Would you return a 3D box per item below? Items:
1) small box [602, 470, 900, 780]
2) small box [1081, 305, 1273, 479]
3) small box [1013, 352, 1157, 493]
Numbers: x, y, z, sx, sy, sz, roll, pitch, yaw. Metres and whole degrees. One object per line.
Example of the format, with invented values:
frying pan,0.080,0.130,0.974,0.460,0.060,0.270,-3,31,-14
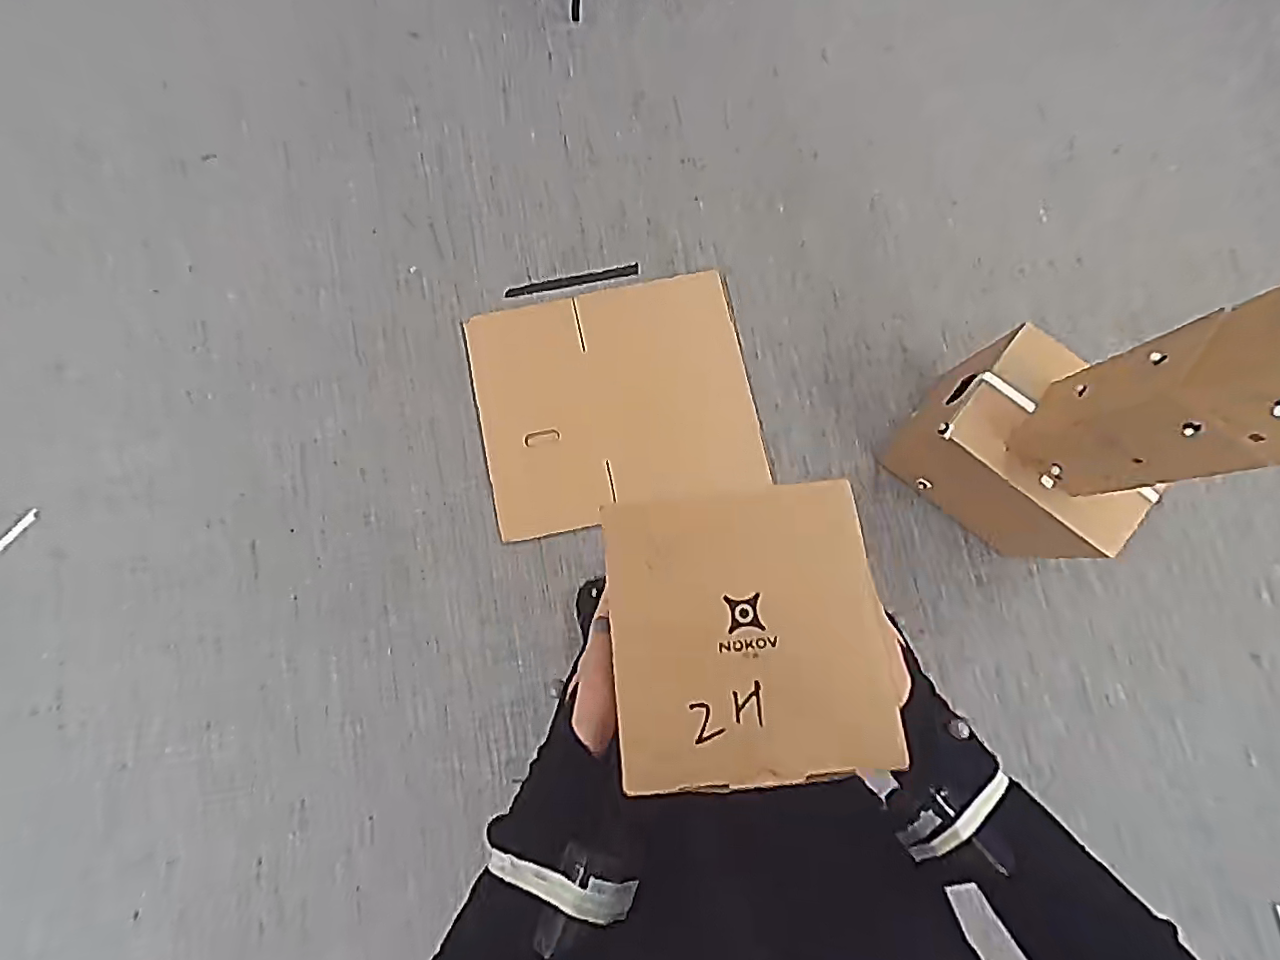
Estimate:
small box,0.064,0.106,0.412,0.168,0.176,0.179,-6,74,0
small box,0.843,-0.124,0.830,0.168,0.176,0.179,38,82,6
small box,0.841,-0.096,0.992,0.168,0.176,0.179,38,84,5
